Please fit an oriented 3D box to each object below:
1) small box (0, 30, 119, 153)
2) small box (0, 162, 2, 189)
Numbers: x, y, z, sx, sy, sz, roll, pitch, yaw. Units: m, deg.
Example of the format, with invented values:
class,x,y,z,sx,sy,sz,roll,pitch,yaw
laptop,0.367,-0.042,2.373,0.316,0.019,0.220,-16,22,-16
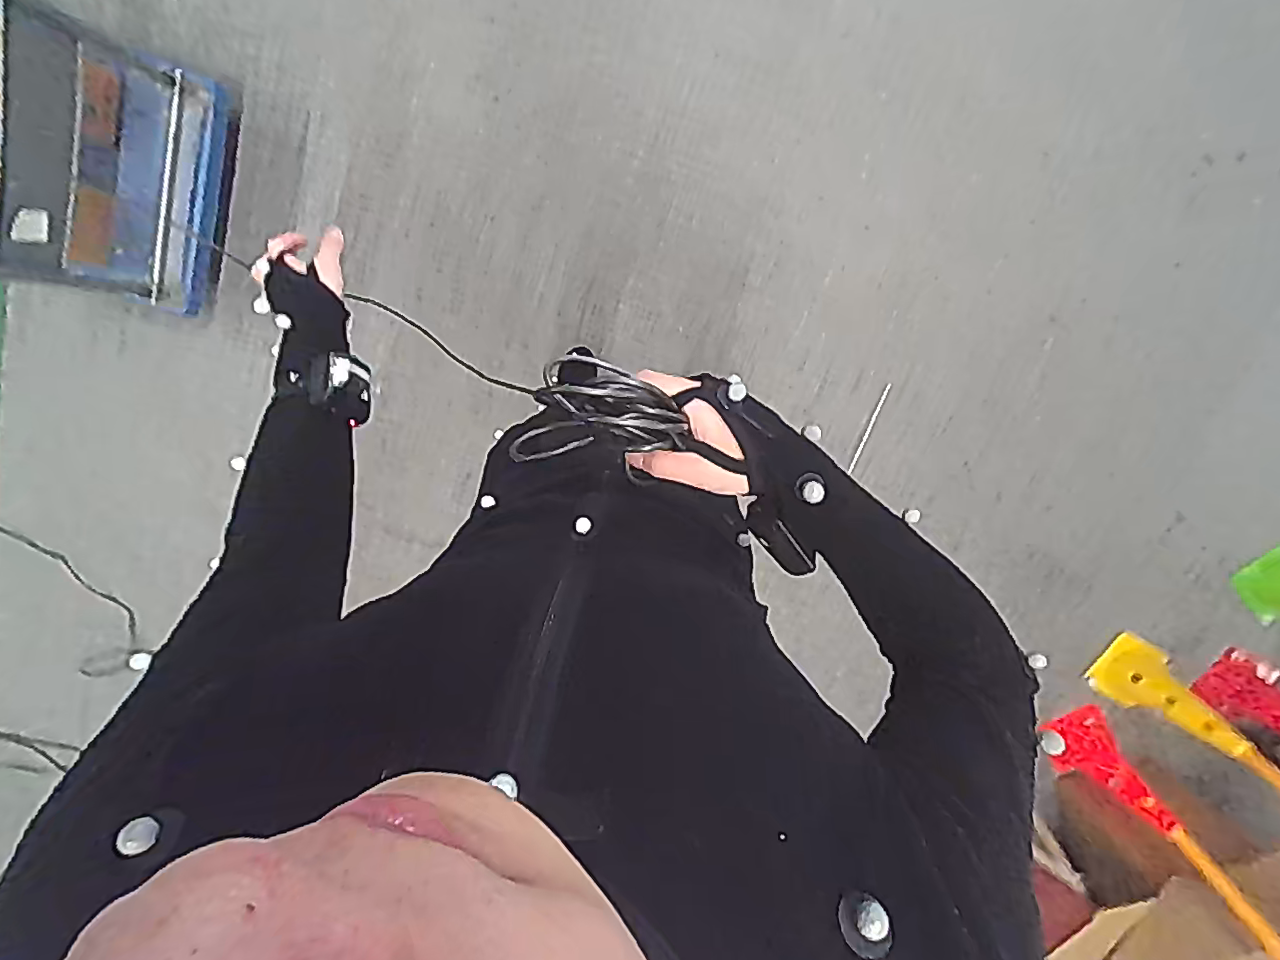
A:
class,x,y,z,sx,sy,sz,roll,pitch,yaw
small box,-1.344,-0.871,1.213,0.179,0.176,0.168,19,103,-3
small box,-1.661,-0.717,1.258,0.179,0.176,0.168,15,102,-1
